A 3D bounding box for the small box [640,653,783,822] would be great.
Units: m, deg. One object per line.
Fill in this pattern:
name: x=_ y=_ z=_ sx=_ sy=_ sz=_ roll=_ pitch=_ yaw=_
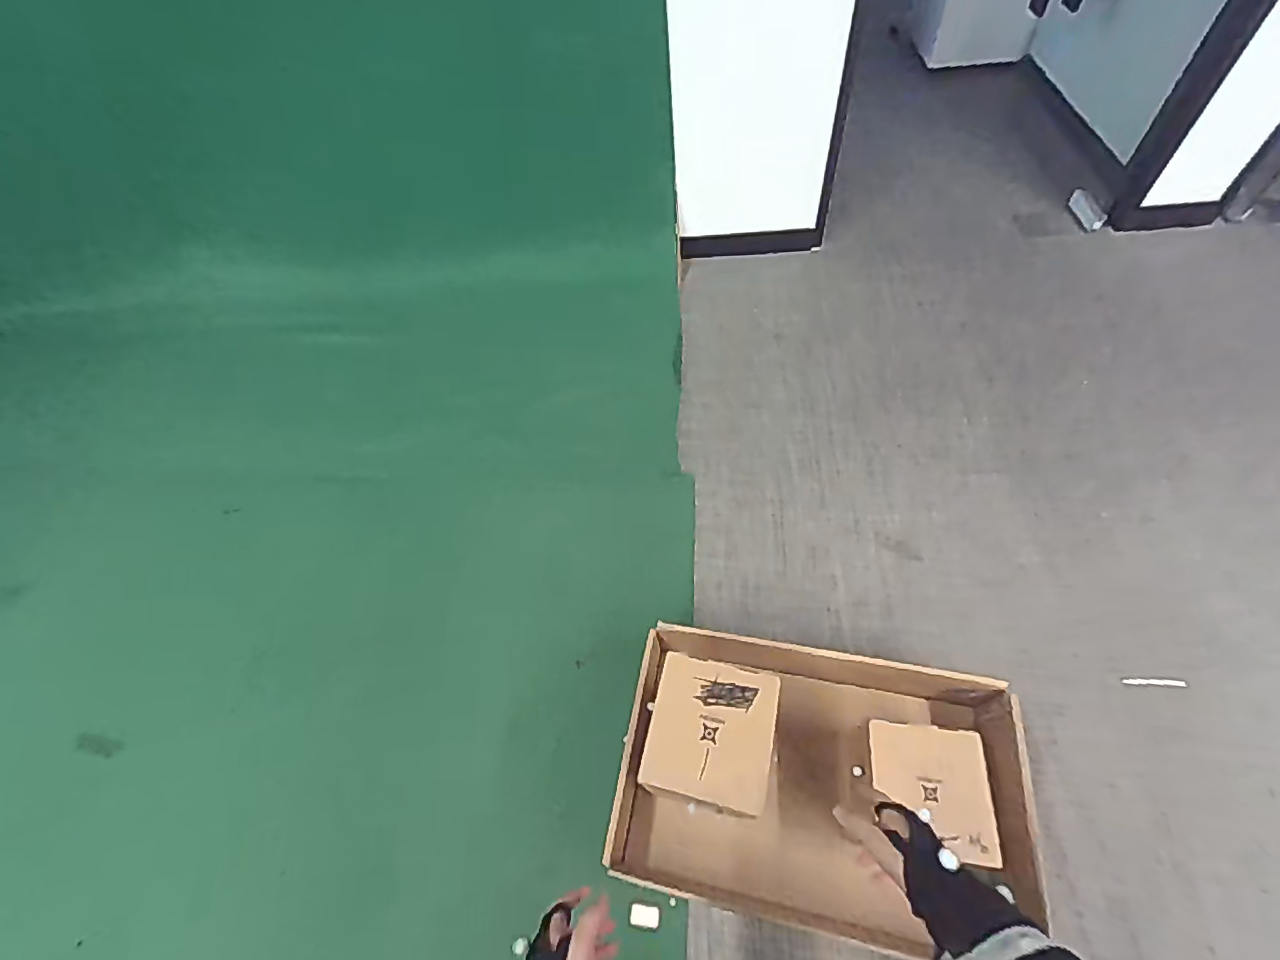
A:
small box: x=0.104 y=0.377 z=0.790 sx=0.168 sy=0.176 sz=0.179 roll=10 pitch=60 yaw=12
